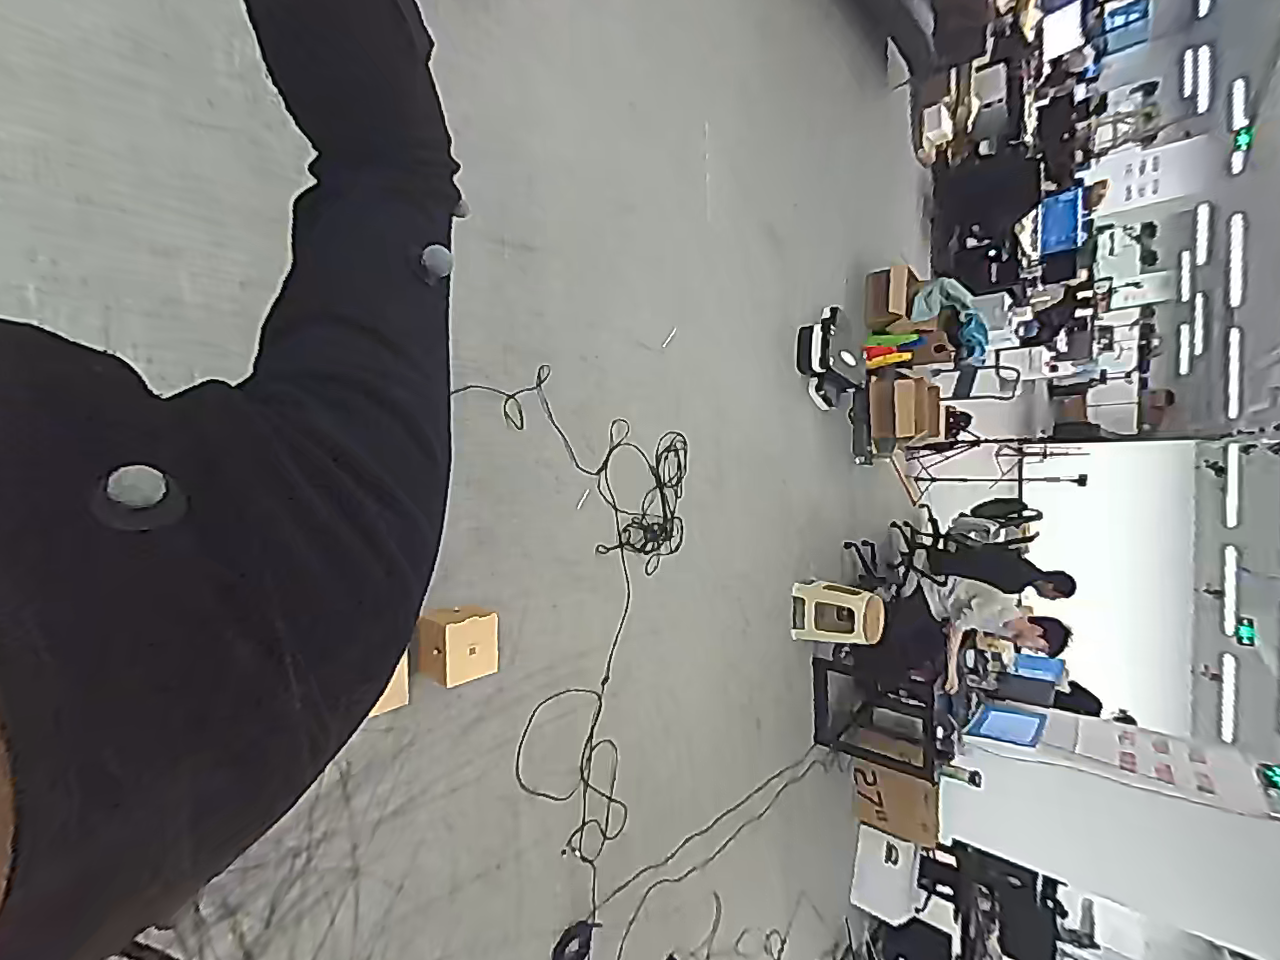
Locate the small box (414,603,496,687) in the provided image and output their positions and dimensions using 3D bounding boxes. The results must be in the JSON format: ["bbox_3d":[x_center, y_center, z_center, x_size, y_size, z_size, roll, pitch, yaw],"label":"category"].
[{"bbox_3d":[-0.534,0.467,1.558,0.168,0.176,0.179,-2,92,-49],"label":"small box"}]
